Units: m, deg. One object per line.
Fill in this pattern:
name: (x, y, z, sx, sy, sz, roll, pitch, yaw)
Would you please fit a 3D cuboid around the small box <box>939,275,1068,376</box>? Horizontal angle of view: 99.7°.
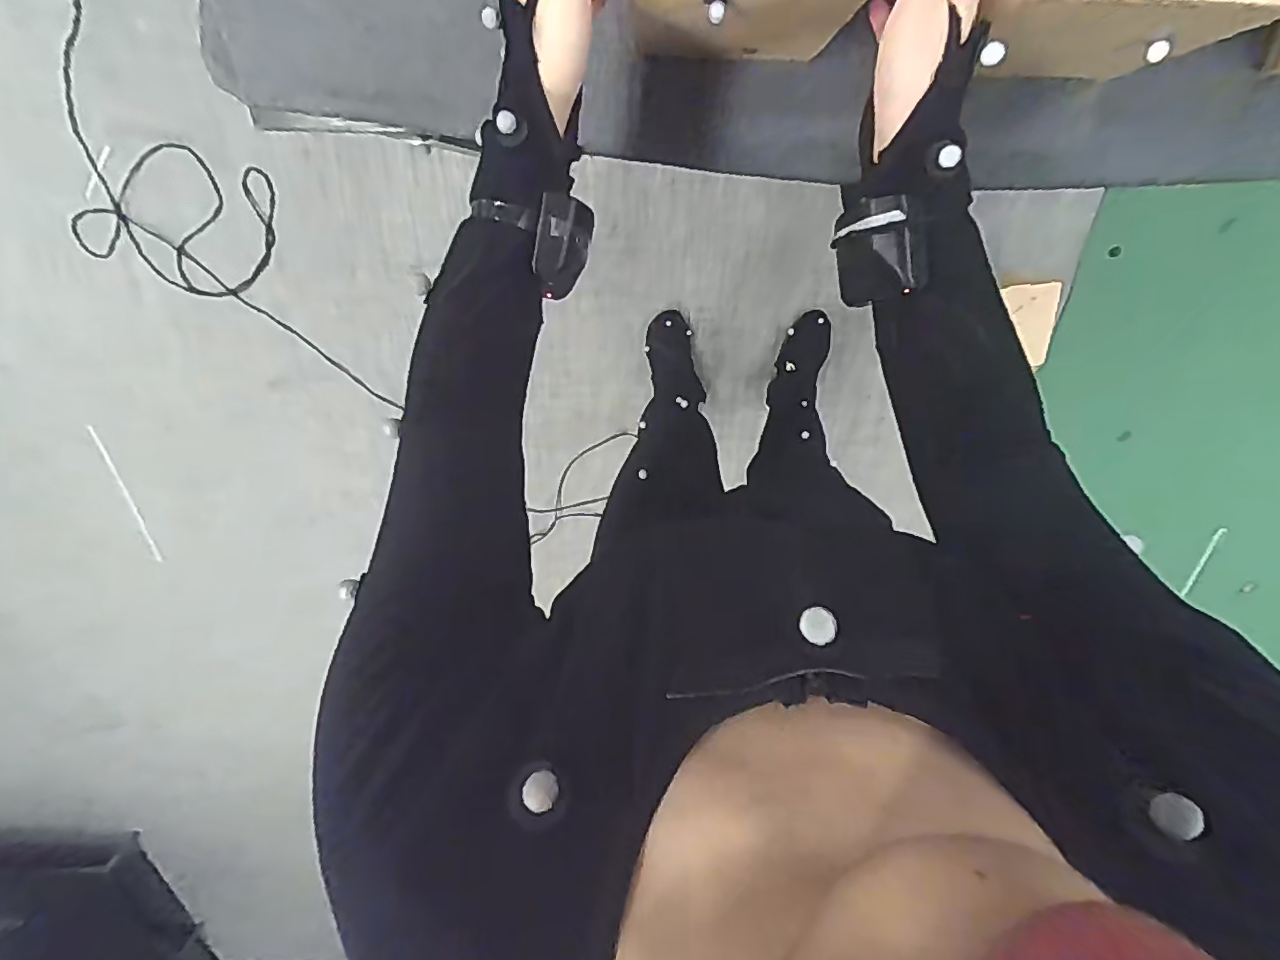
small box: (0.788, -0.344, 1.196, 0.168, 0.176, 0.179, -5, 117, 5)
